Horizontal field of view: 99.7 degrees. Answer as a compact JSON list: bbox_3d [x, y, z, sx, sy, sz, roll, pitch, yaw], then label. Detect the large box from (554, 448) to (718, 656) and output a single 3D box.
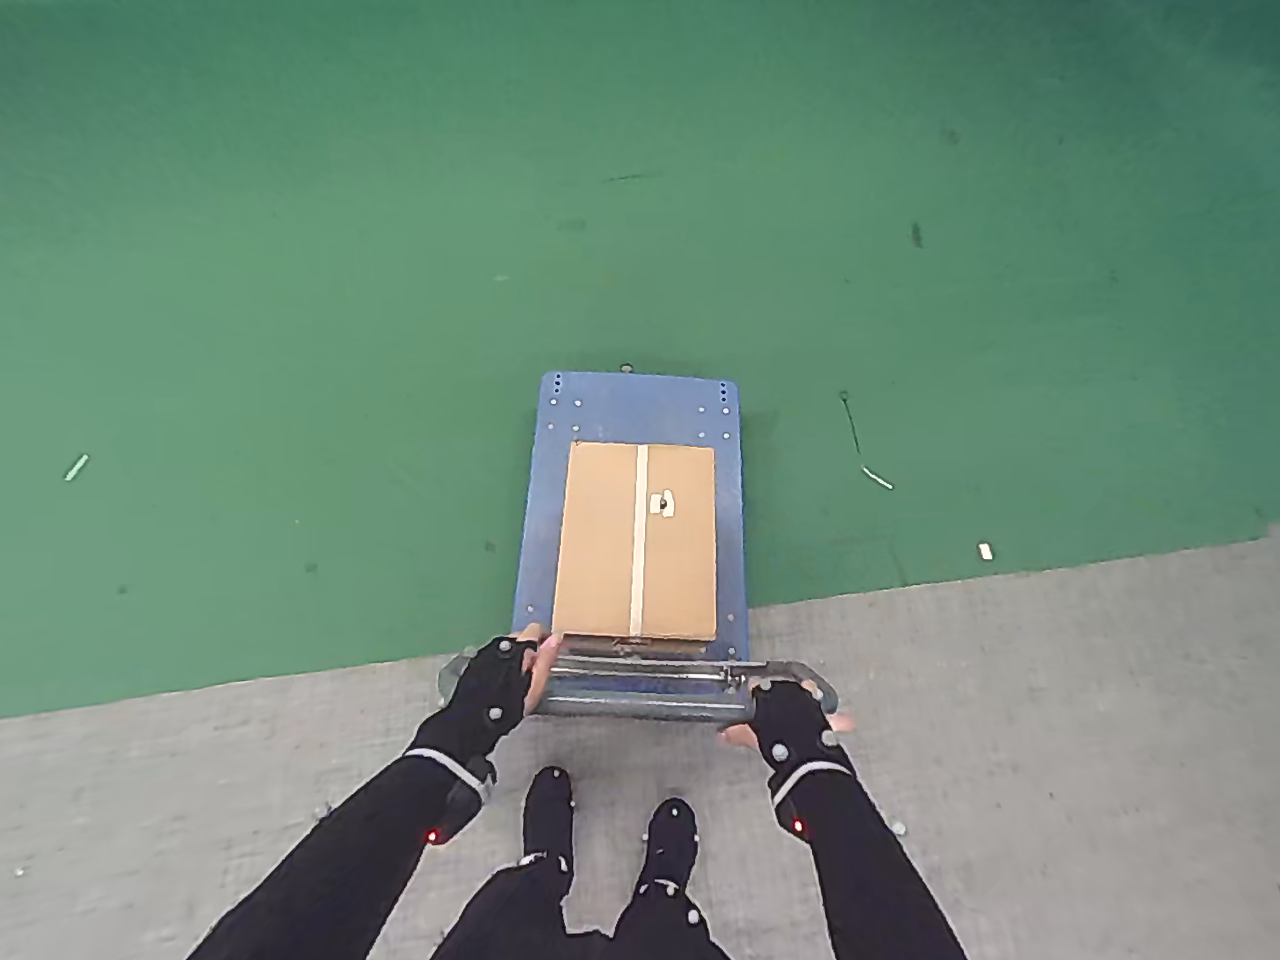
[{"bbox_3d":[-0.006,0.177,1.225,0.320,0.320,0.408,3,67,-1],"label":"large box"}]
